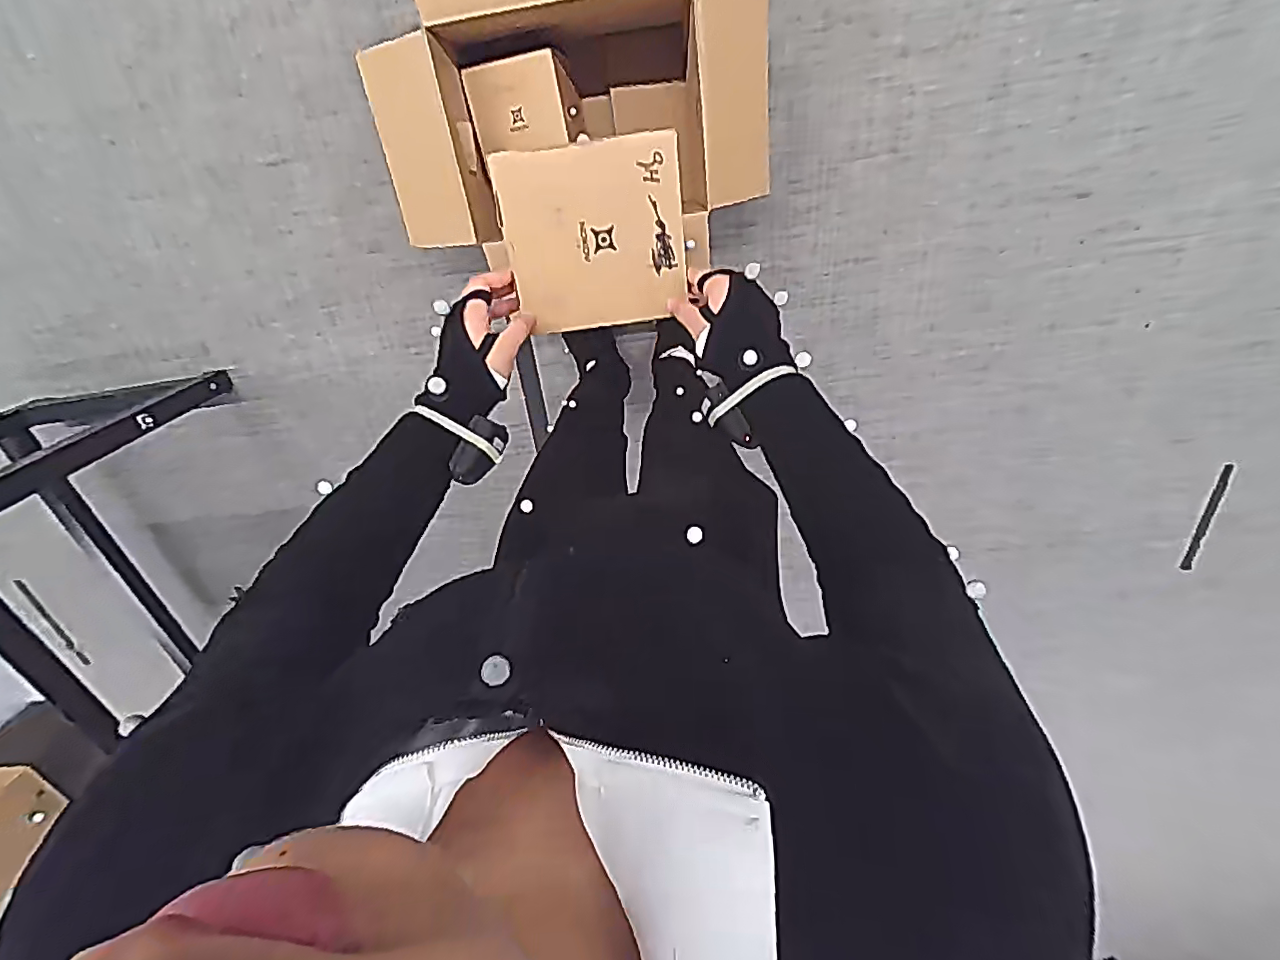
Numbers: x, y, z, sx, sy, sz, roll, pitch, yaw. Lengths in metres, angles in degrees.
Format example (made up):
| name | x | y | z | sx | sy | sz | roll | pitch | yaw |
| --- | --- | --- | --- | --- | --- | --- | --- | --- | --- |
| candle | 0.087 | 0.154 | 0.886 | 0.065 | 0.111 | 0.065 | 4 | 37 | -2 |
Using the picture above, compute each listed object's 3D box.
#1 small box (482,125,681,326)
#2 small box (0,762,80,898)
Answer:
| name | x | y | z | sx | sy | sz | roll | pitch | yaw |
| --- | --- | --- | --- | --- | --- | --- | --- | --- | --- |
| small box | -0.054 | -0.277 | 0.598 | 0.179 | 0.176 | 0.168 | -7 | 118 | 1 |
| small box | -1.252 | 0.659 | 1.022 | 0.179 | 0.176 | 0.168 | -5 | 120 | 4 |
